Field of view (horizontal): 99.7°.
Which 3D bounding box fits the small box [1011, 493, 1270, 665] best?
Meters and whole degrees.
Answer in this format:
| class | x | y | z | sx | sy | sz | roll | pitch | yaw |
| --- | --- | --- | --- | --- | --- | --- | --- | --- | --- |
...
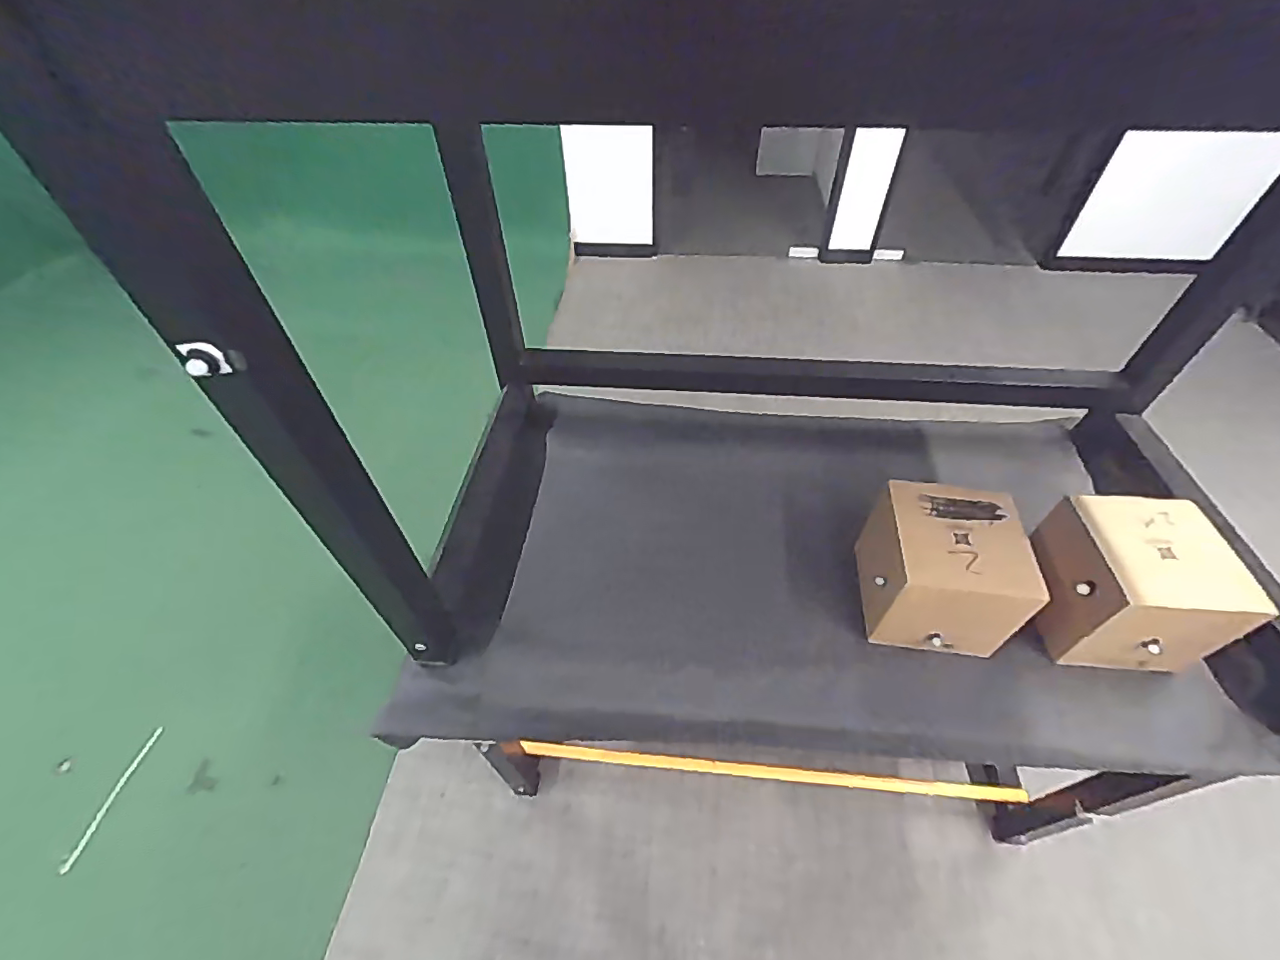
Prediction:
| class | x | y | z | sx | sy | sz | roll | pitch | yaw |
| --- | --- | --- | --- | --- | --- | --- | --- | --- | --- |
| small box | 0.664 | 0.140 | 0.750 | 0.168 | 0.176 | 0.179 | 3 | 48 | 4 |
